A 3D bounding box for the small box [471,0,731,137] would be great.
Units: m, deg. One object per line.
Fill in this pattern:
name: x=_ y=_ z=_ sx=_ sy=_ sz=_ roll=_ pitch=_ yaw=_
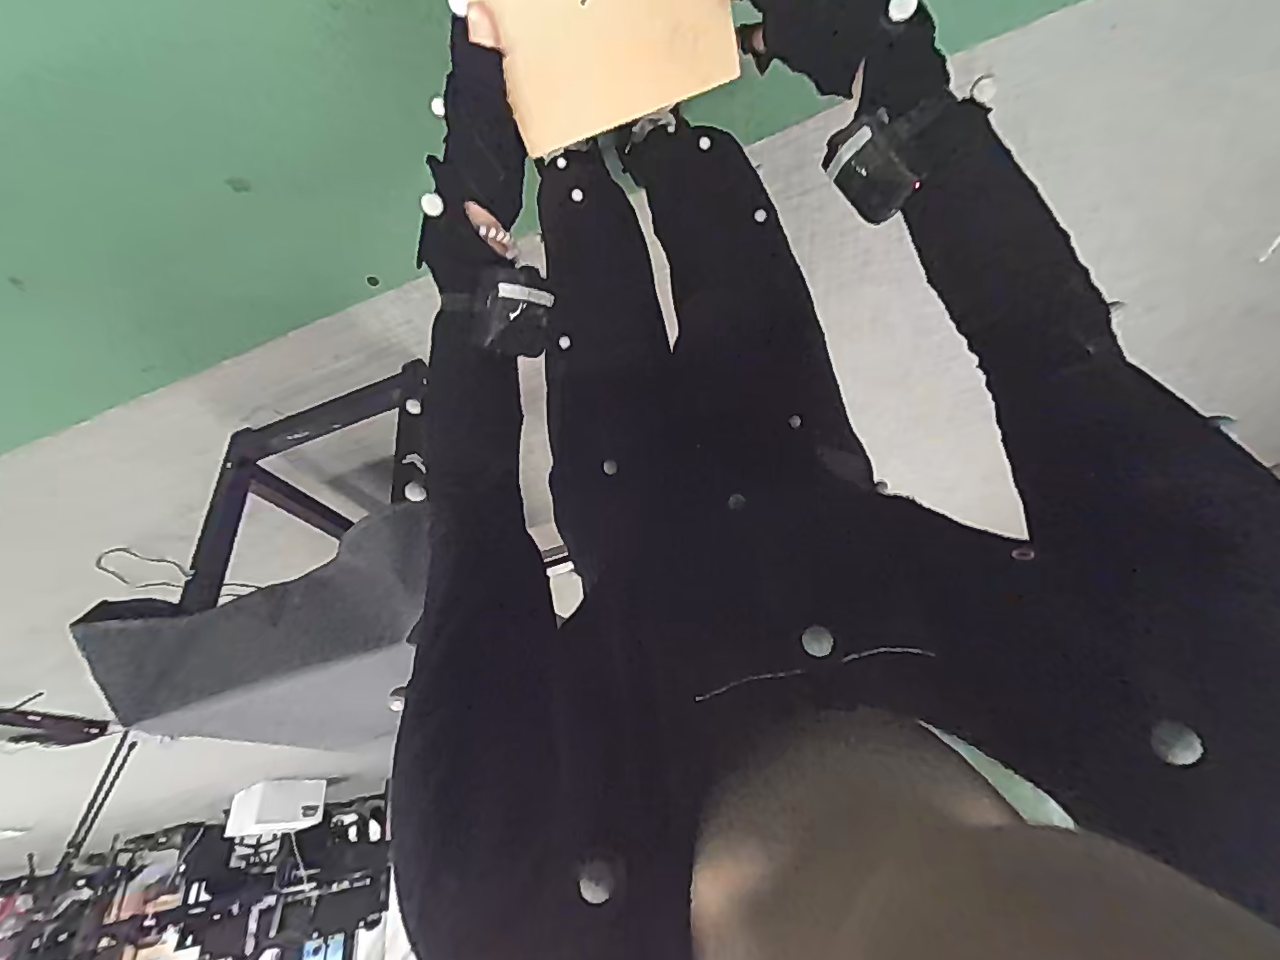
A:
small box: x=-0.039 y=-0.396 z=0.397 sx=0.168 sy=0.176 sz=0.179 roll=-15 pitch=135 yaw=11
